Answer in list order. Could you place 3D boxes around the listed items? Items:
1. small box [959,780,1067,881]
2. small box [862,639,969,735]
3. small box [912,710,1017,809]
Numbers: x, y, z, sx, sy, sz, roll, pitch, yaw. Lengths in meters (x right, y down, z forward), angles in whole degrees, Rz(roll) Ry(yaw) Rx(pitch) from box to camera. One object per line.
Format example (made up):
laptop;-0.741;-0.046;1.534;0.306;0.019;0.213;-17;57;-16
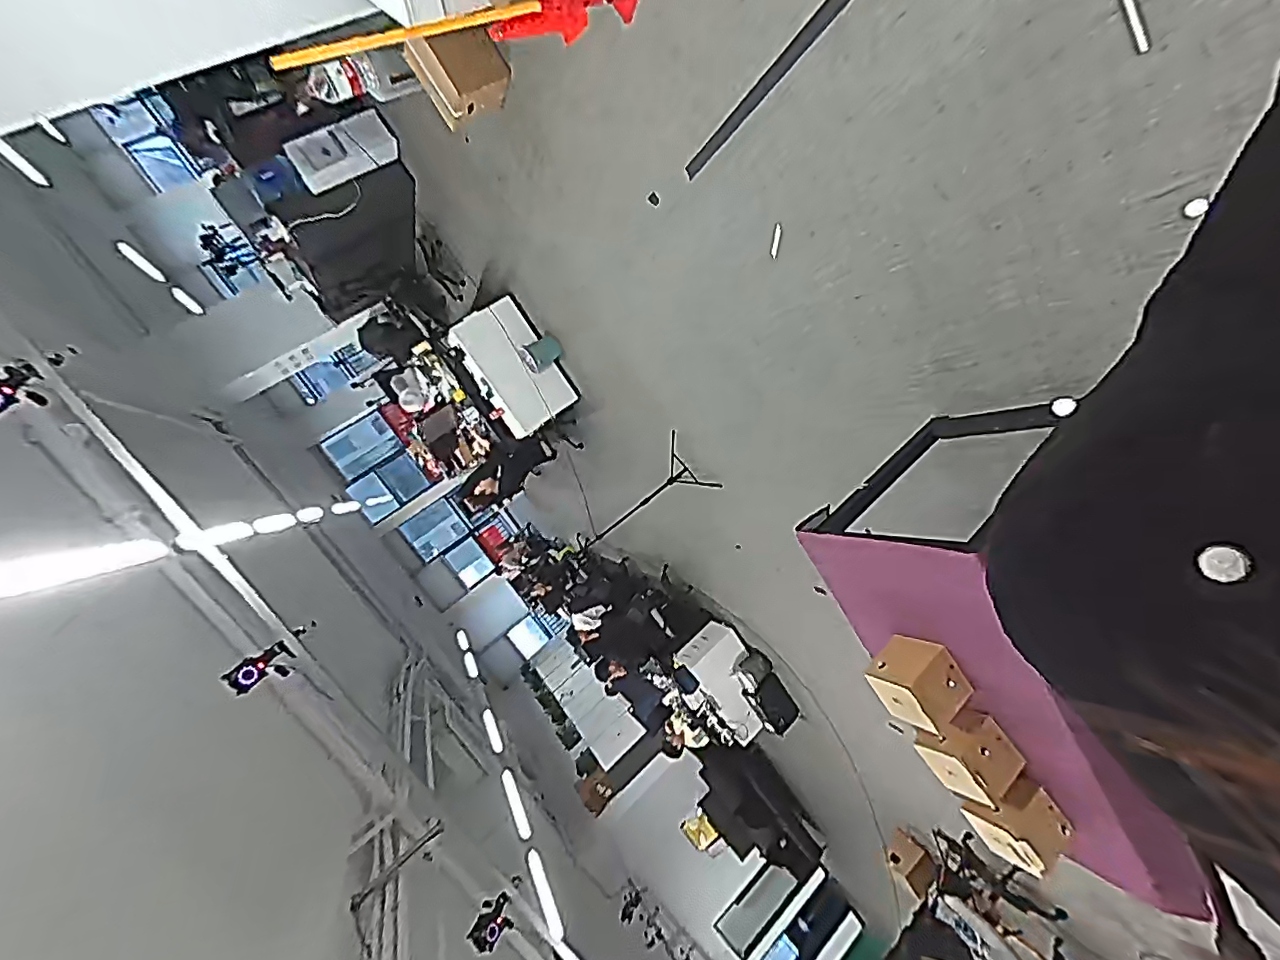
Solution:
small box;1.082;0.989;1.561;0.168;0.176;0.179;53;162;-1
small box;0.777;0.573;1.526;0.168;0.176;0.179;54;161;-7
small box;0.934;0.786;1.547;0.168;0.176;0.179;53;161;1
